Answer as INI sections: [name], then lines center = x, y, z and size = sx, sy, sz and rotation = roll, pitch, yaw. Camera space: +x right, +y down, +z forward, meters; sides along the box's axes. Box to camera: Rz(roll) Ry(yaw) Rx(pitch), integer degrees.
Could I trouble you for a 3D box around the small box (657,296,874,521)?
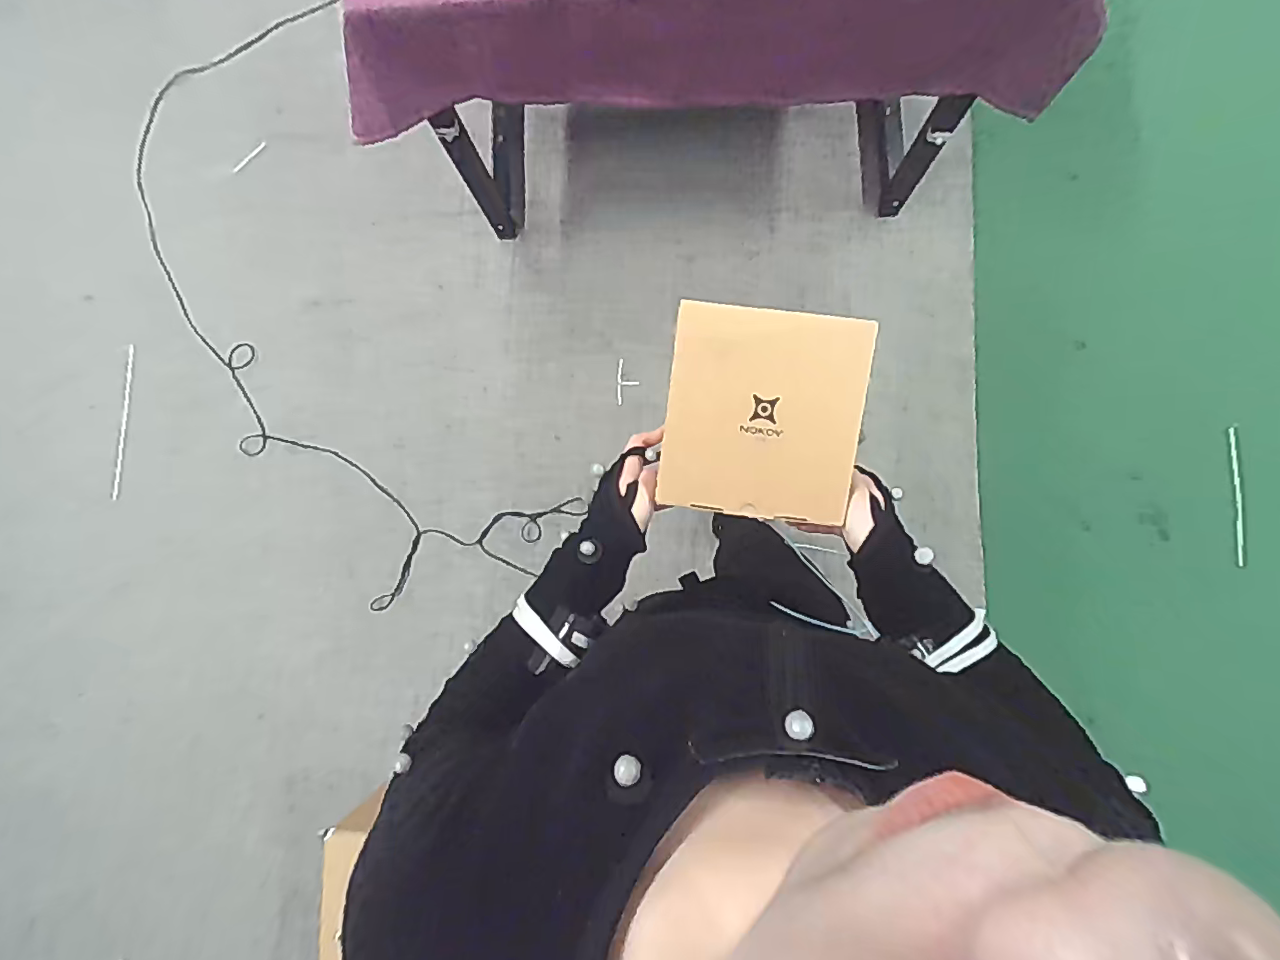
[small box]
center = 0.109, -0.070, 0.542
size = 0.168, 0.176, 0.179
rotation = 8, 98, 2
